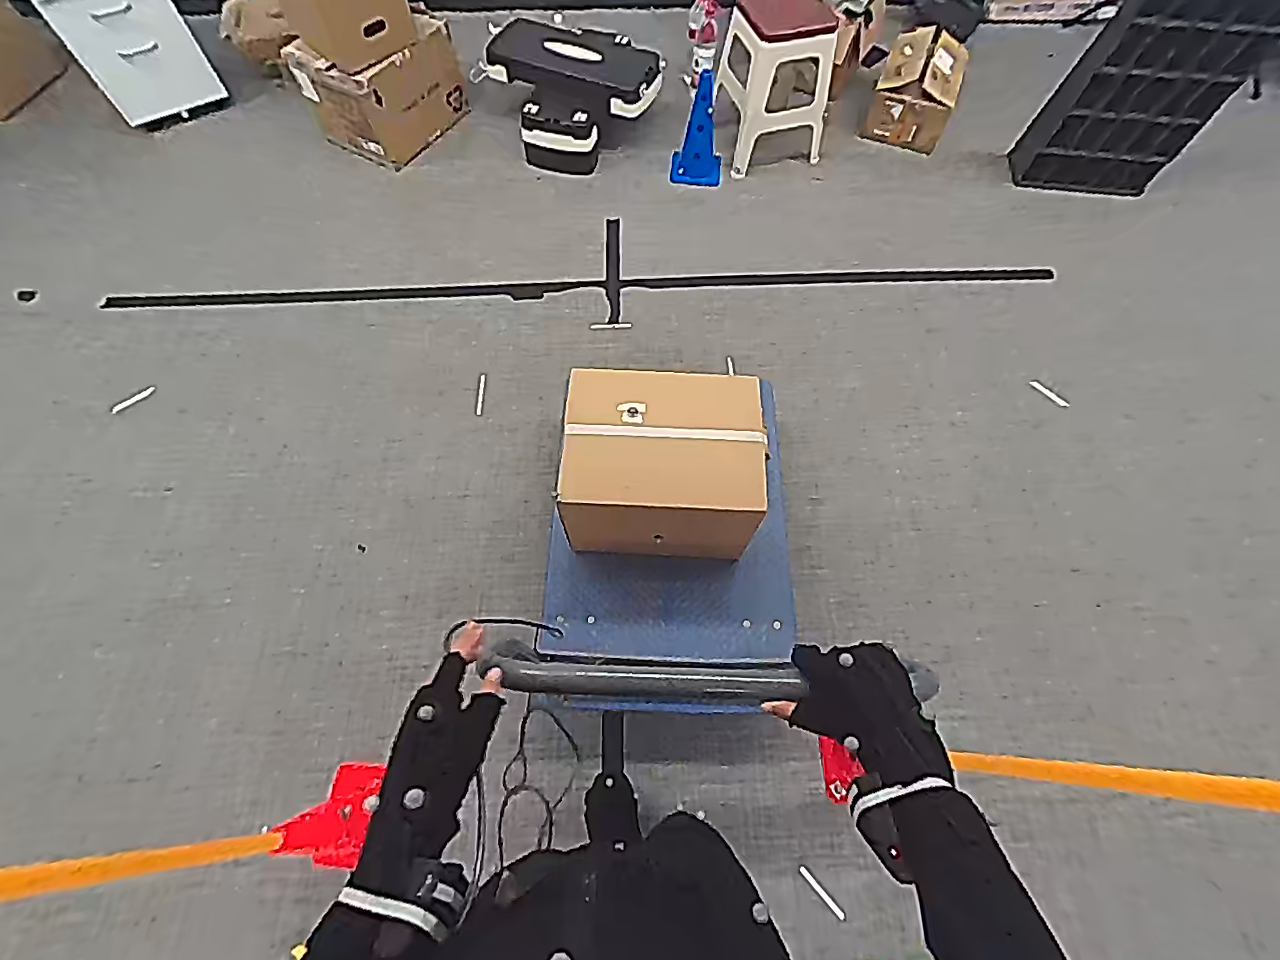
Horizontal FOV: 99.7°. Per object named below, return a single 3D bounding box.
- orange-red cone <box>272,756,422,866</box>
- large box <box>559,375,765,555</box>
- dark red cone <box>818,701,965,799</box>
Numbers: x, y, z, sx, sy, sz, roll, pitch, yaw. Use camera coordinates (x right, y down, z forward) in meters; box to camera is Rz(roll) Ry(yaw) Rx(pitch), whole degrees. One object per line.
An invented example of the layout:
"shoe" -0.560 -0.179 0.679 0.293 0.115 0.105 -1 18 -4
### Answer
"orange-red cone" -0.600 0.656 1.055 0.198 0.360 0.199 6 63 1
"large box" 0.049 -0.021 1.231 0.408 0.320 0.320 3 65 1
"dark red cone" 0.528 0.547 1.099 0.201 0.394 0.202 0 64 -3
